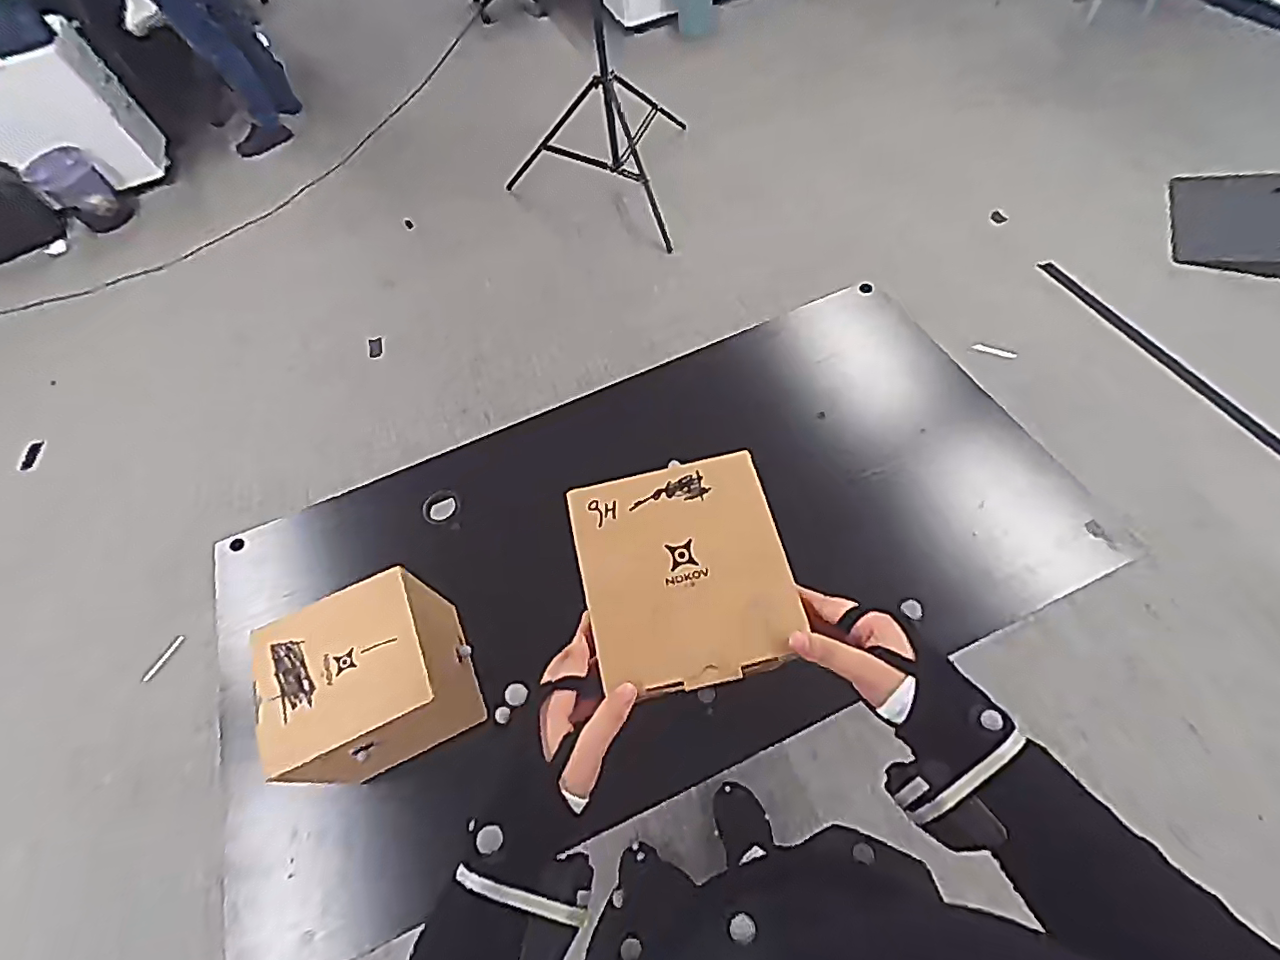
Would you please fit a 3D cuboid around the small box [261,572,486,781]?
[{"bbox_3d":[-0.313,0.244,0.656,0.179,0.176,0.168,-24,60,-9],"label":"small box"}]

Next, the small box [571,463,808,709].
[{"bbox_3d":[0.040,0.108,0.520,0.168,0.176,0.179,-13,68,-2],"label":"small box"}]
